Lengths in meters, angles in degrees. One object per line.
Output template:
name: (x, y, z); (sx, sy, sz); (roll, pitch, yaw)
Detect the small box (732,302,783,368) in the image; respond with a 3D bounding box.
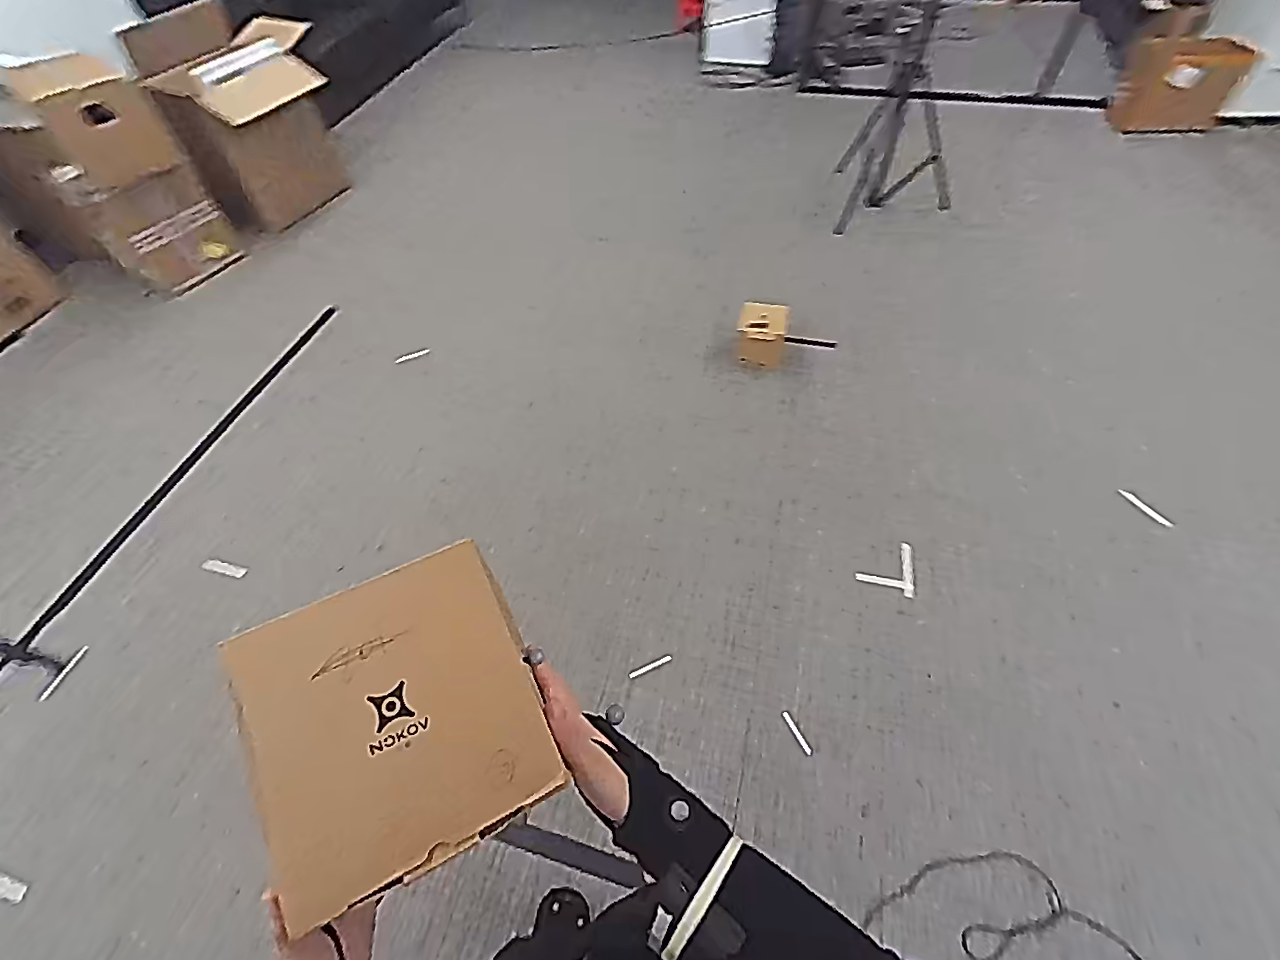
small box: (0.447, -0.551, 2.068); (0.168, 0.176, 0.179); (9, 56, 10)

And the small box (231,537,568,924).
small box: (-0.160, 0.171, 0.413); (0.168, 0.176, 0.179); (-23, 72, -16)
